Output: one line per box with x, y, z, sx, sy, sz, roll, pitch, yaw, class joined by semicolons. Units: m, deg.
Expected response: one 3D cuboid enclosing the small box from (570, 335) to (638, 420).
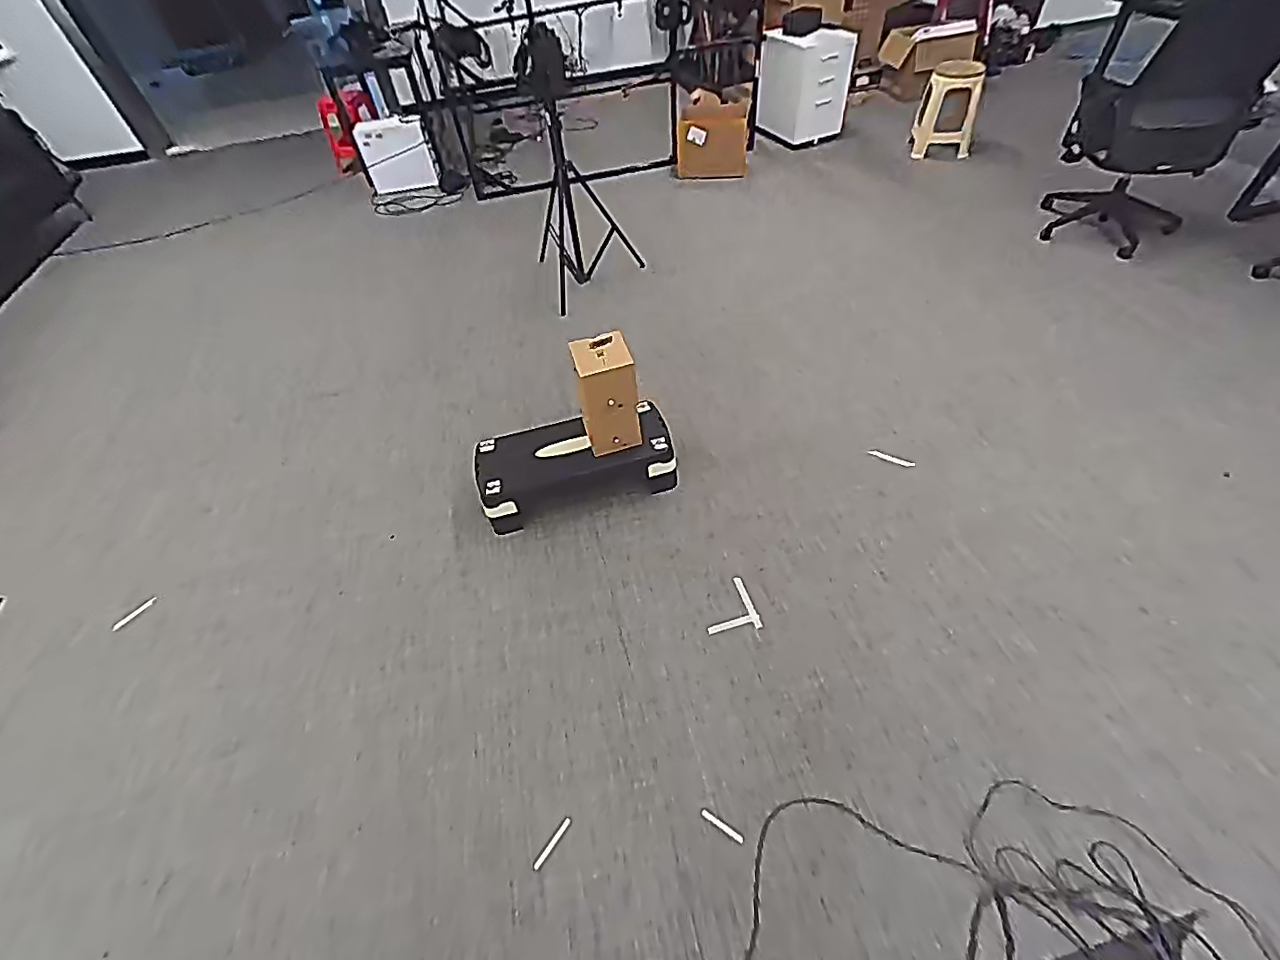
-0.112;-0.317;1.683;0.168;0.176;0.179;-16;50;-7;small box

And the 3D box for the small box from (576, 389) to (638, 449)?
-0.106;-0.206;1.803;0.168;0.176;0.179;-16;50;-7;small box
